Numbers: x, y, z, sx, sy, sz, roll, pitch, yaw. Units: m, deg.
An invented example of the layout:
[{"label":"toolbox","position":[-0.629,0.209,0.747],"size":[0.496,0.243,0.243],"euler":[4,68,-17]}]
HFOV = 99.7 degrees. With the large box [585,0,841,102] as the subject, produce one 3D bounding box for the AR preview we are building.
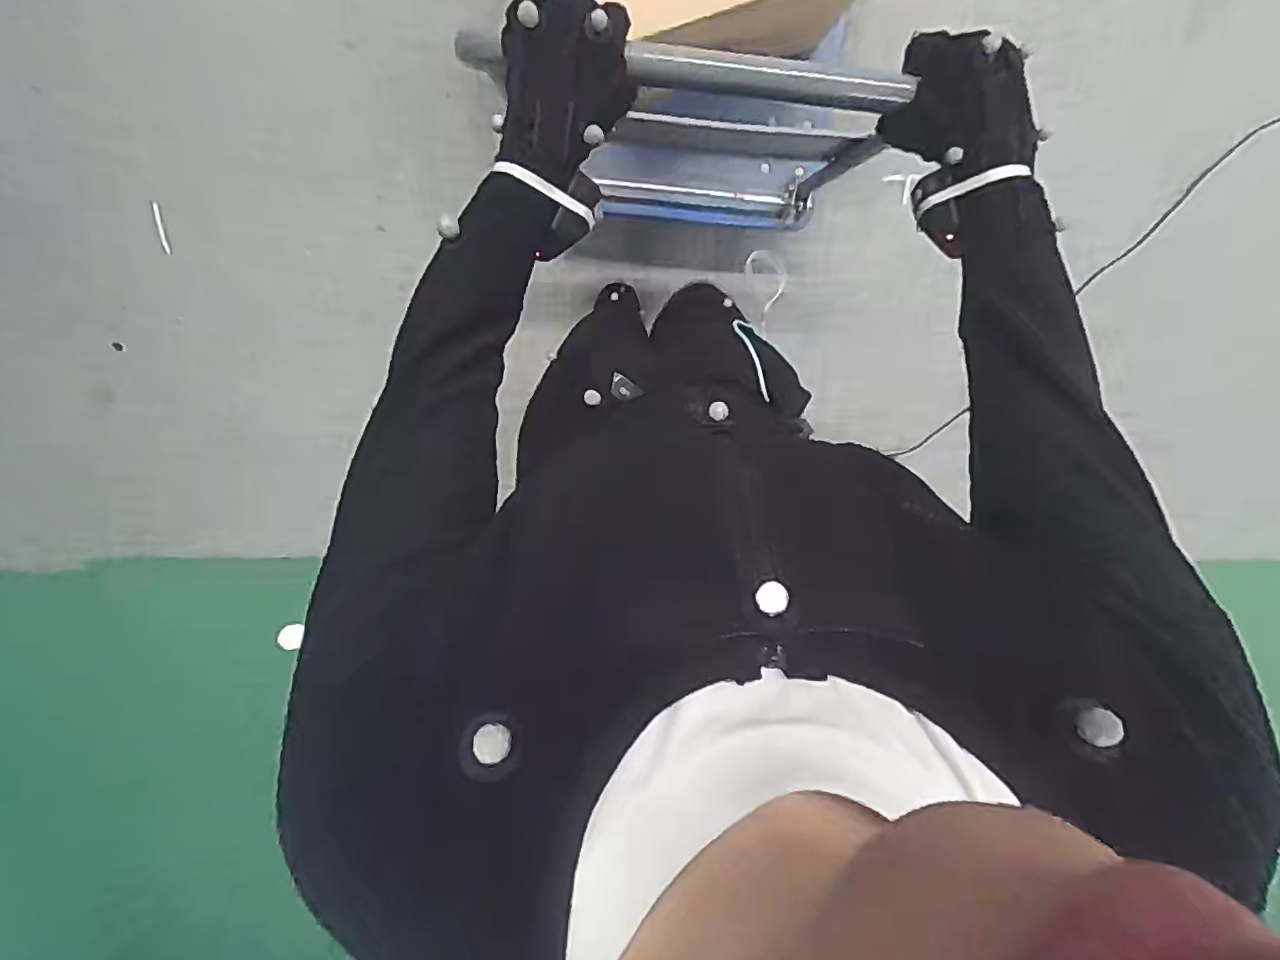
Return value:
[{"label":"large box","position":[0.097,-0.853,0.829],"size":[0.408,0.320,0.320],"euler":[-14,109,5]}]
